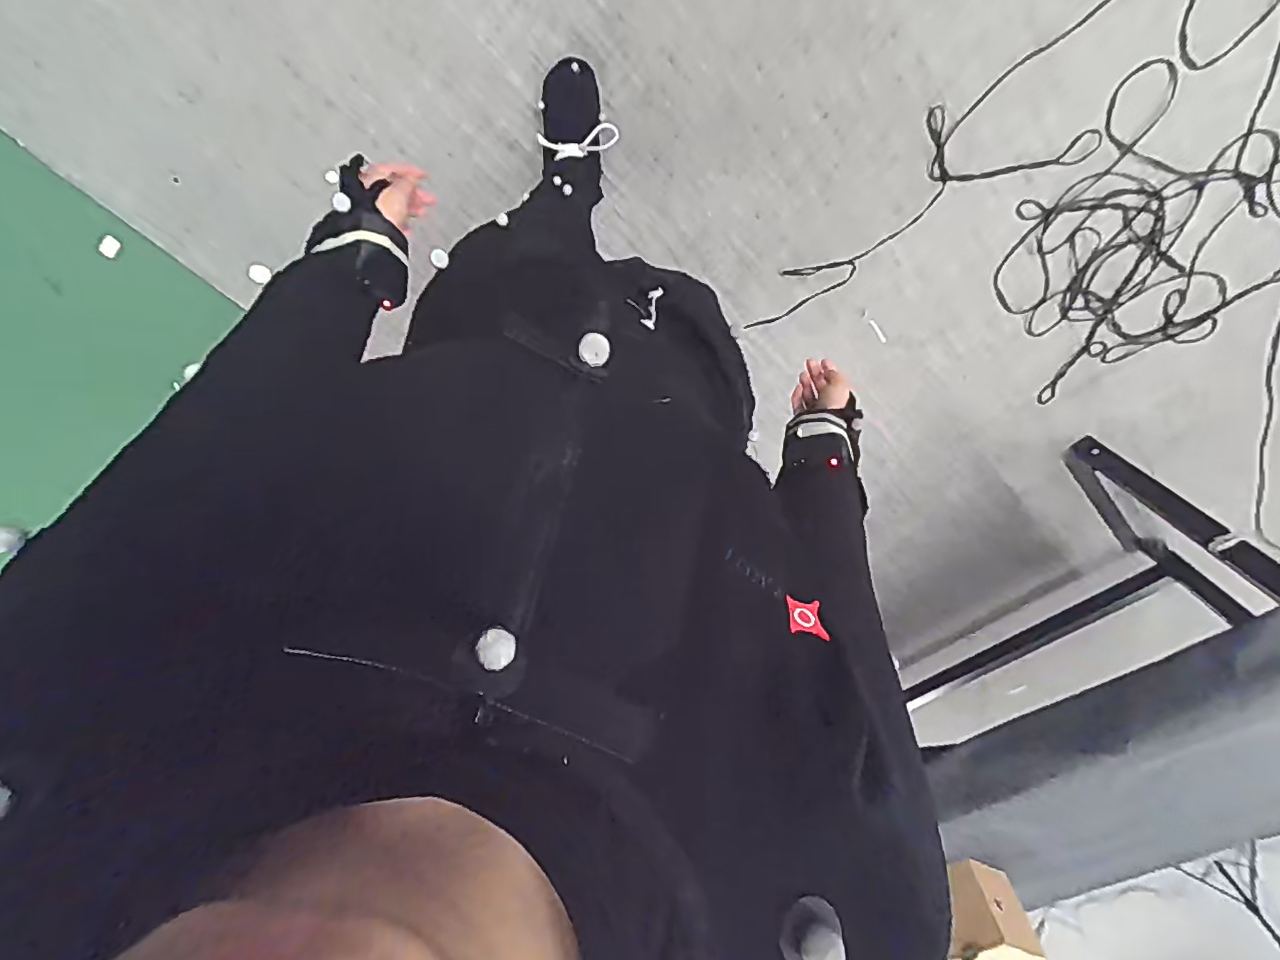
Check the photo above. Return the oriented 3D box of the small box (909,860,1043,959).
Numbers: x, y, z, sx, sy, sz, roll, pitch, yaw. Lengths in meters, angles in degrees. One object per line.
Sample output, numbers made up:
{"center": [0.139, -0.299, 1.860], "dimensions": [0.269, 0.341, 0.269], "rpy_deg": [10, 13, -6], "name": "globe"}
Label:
{"center": [0.774, 1.022, 1.265], "dimensions": [0.179, 0.176, 0.168], "rpy_deg": [31, 118, -22], "name": "small box"}
